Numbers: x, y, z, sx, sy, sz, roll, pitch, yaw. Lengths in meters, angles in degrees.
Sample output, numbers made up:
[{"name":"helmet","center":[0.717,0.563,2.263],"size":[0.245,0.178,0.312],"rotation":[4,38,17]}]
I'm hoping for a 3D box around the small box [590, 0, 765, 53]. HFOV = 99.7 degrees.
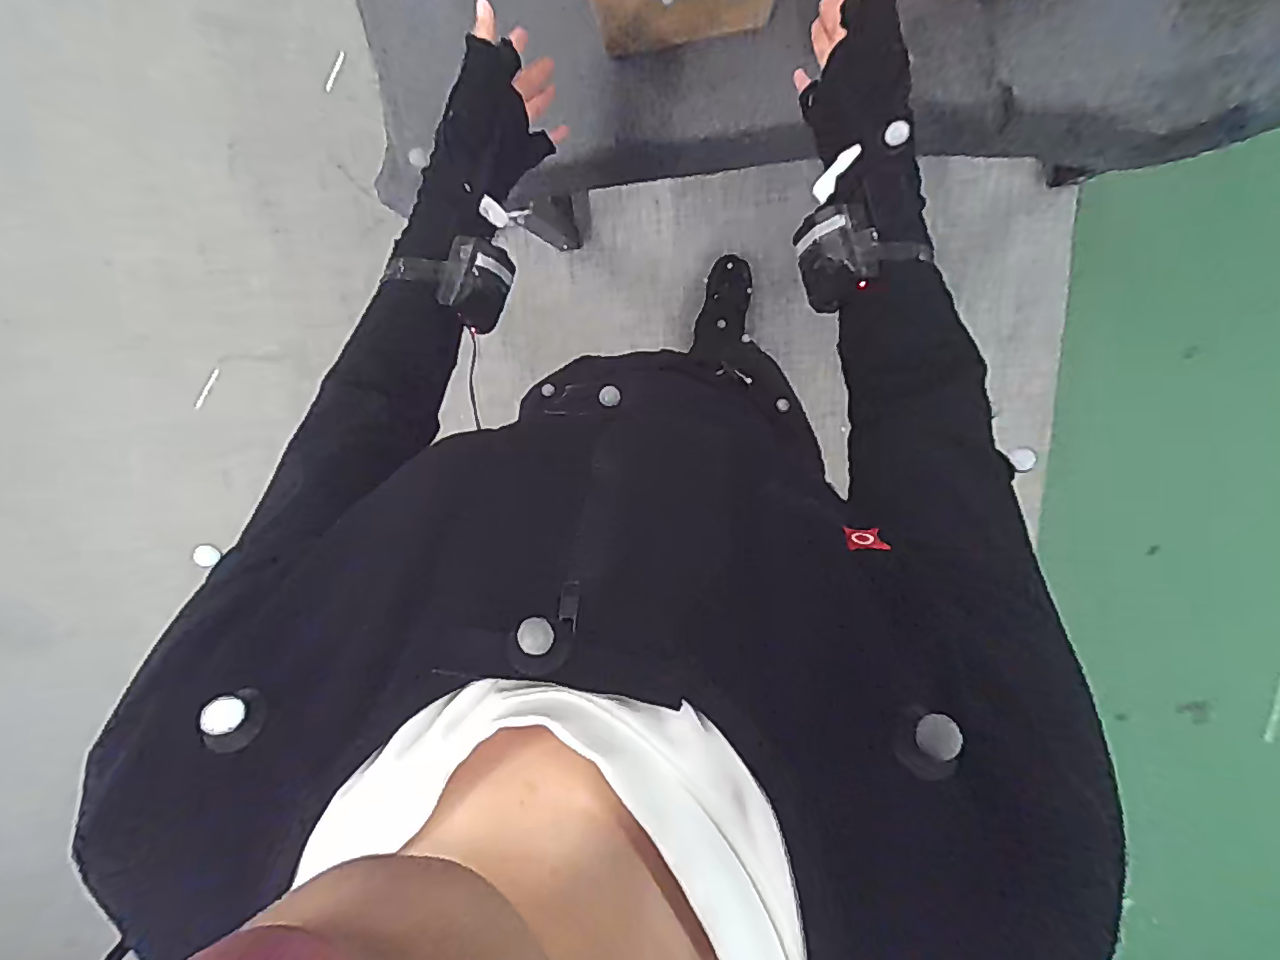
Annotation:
[{"name":"small box","center":[0.028,-0.527,0.483],"size":[0.179,0.176,0.168],"rotation":[-6,102,7]}]
